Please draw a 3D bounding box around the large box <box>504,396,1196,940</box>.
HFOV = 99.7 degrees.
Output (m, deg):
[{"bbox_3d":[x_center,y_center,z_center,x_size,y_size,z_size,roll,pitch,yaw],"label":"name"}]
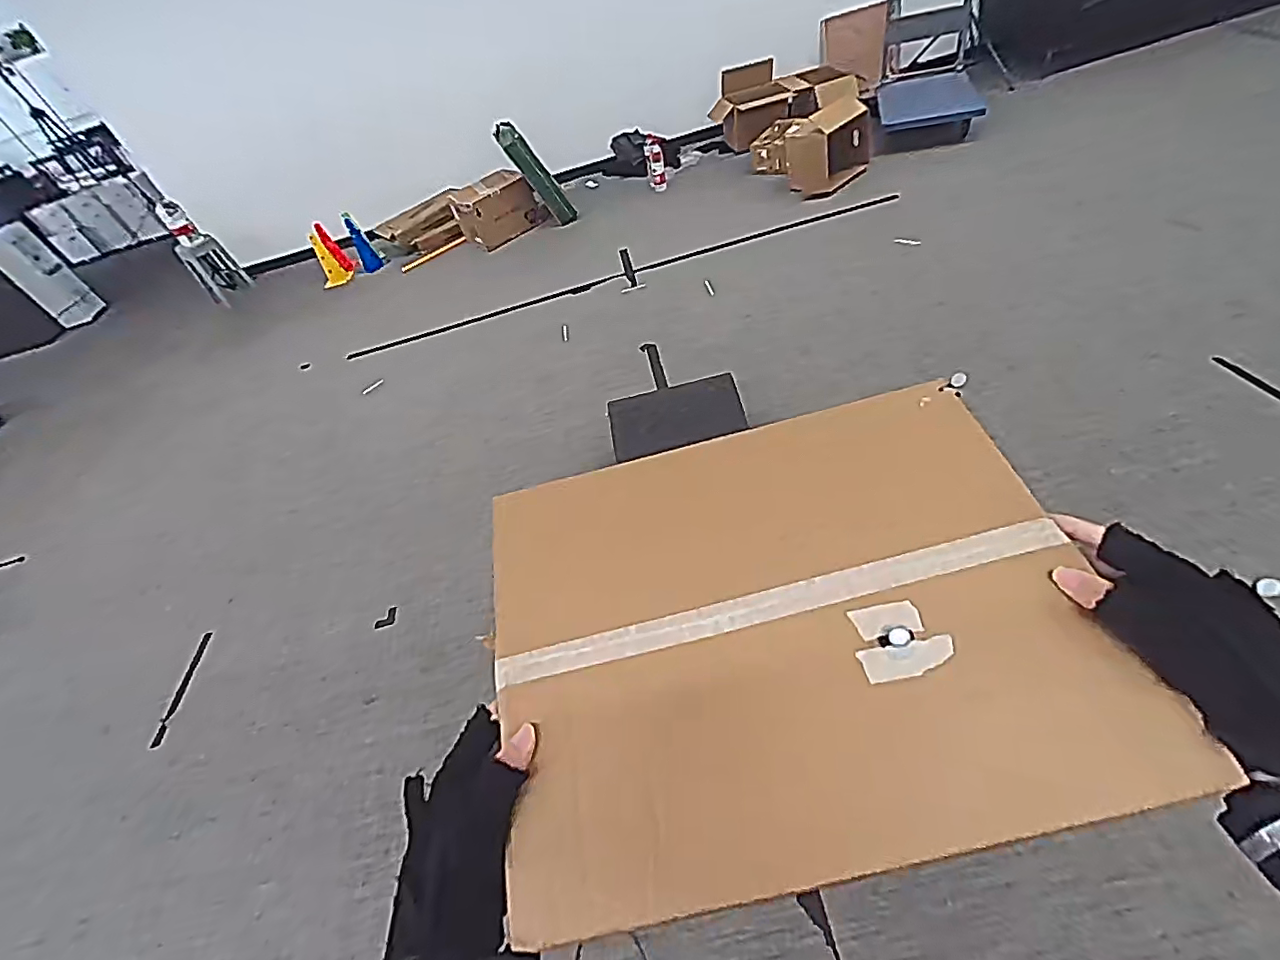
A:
[{"bbox_3d":[0.122,0.180,0.516,0.408,0.320,0.320,-15,55,2],"label":"large box"}]
